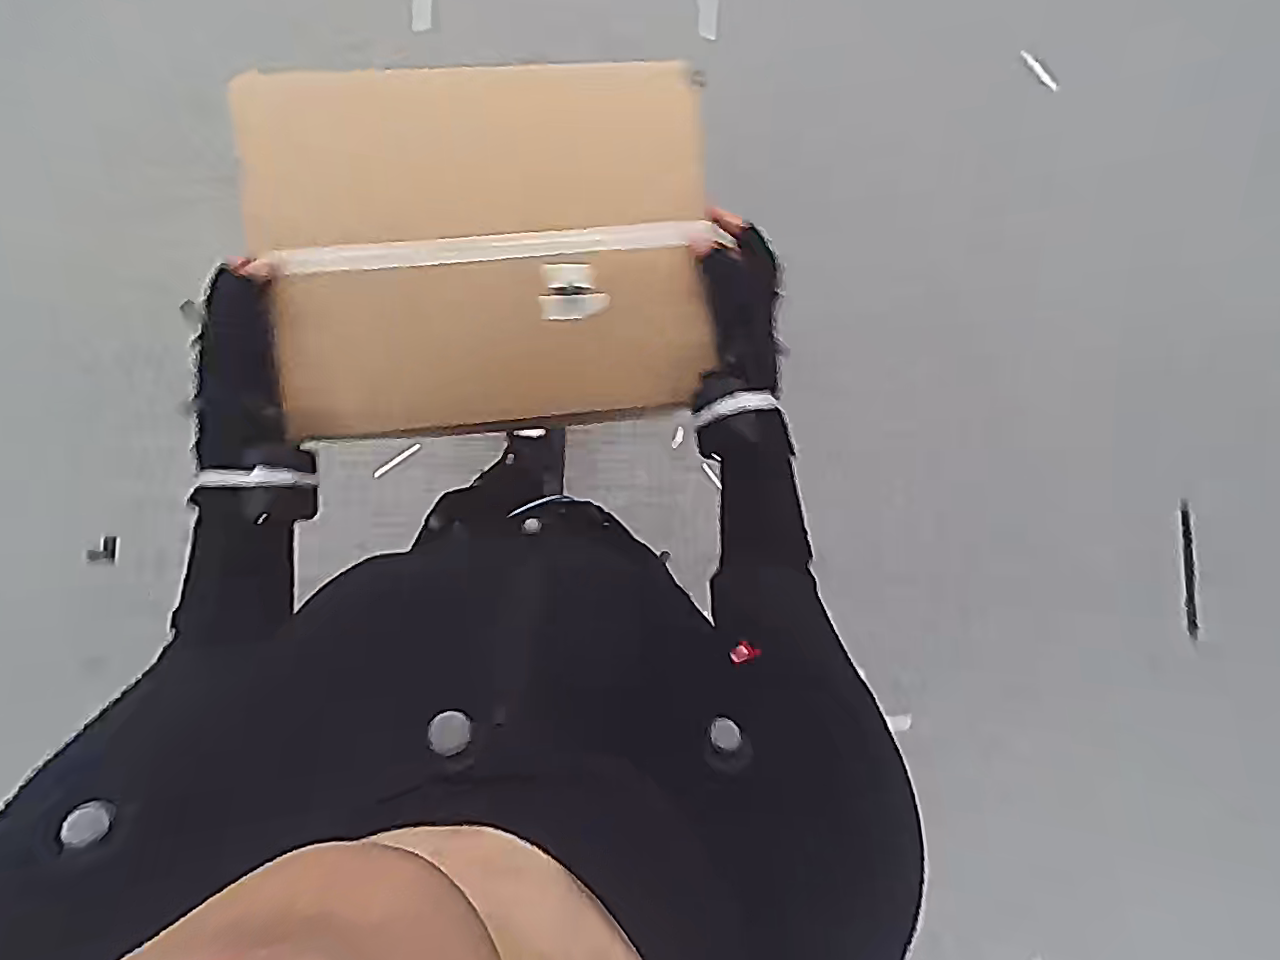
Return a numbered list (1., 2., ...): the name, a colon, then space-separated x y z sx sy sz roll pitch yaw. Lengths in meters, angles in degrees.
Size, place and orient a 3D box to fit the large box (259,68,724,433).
1. large box: -0.145 -0.232 0.654 0.408 0.320 0.320 -6 96 -7
